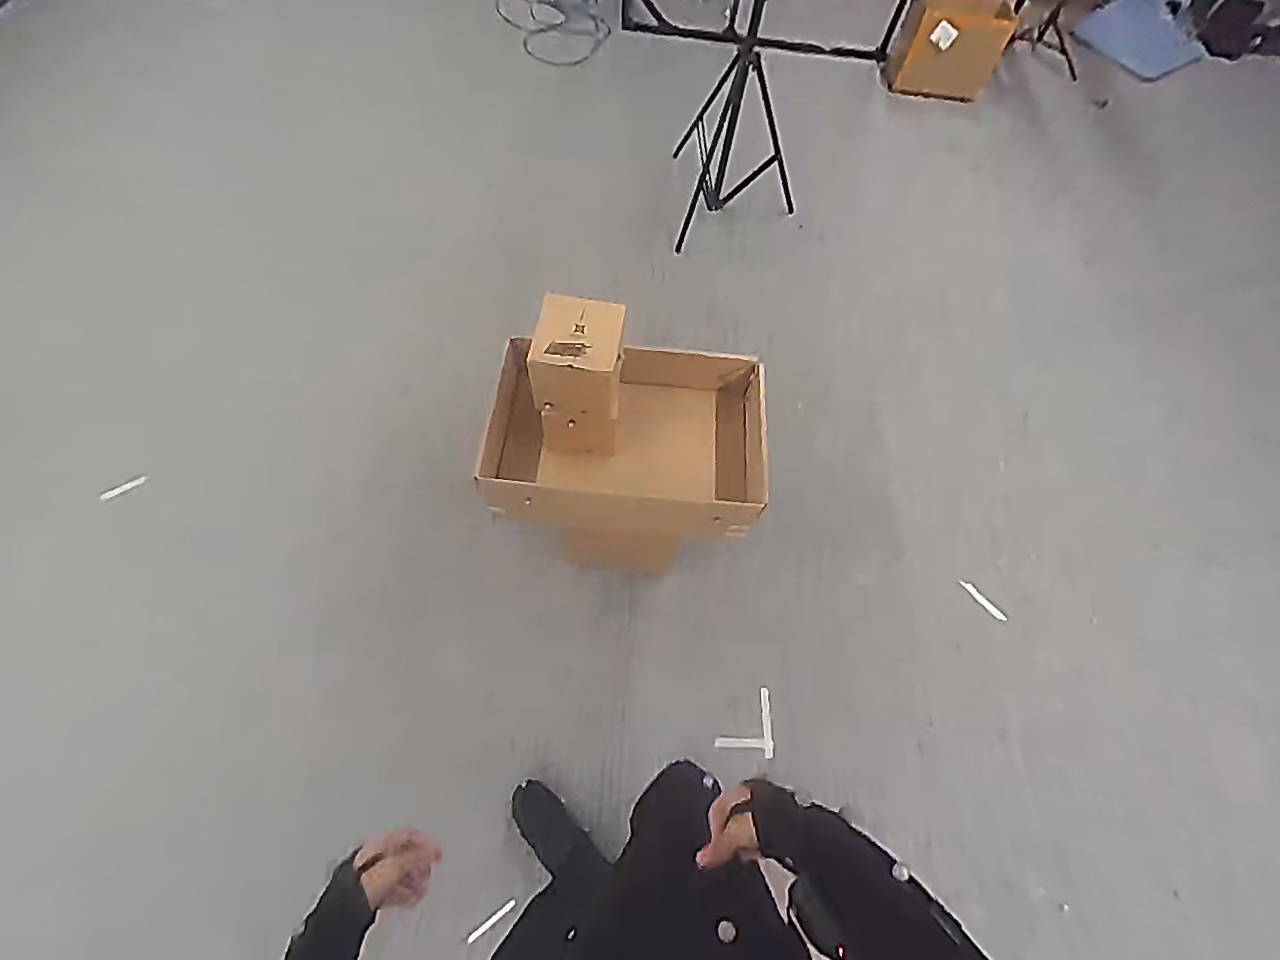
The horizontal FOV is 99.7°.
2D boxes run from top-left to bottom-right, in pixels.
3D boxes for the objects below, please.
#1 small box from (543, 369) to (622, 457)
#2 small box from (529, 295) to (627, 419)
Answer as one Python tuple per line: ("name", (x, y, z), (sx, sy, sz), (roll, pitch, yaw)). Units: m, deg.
("small box", (-0.131, -0.175, 1.269), (0.168, 0.176, 0.179), (3, 64, -3))
("small box", (-0.123, -0.248, 1.121), (0.168, 0.176, 0.179), (9, 64, -1))
